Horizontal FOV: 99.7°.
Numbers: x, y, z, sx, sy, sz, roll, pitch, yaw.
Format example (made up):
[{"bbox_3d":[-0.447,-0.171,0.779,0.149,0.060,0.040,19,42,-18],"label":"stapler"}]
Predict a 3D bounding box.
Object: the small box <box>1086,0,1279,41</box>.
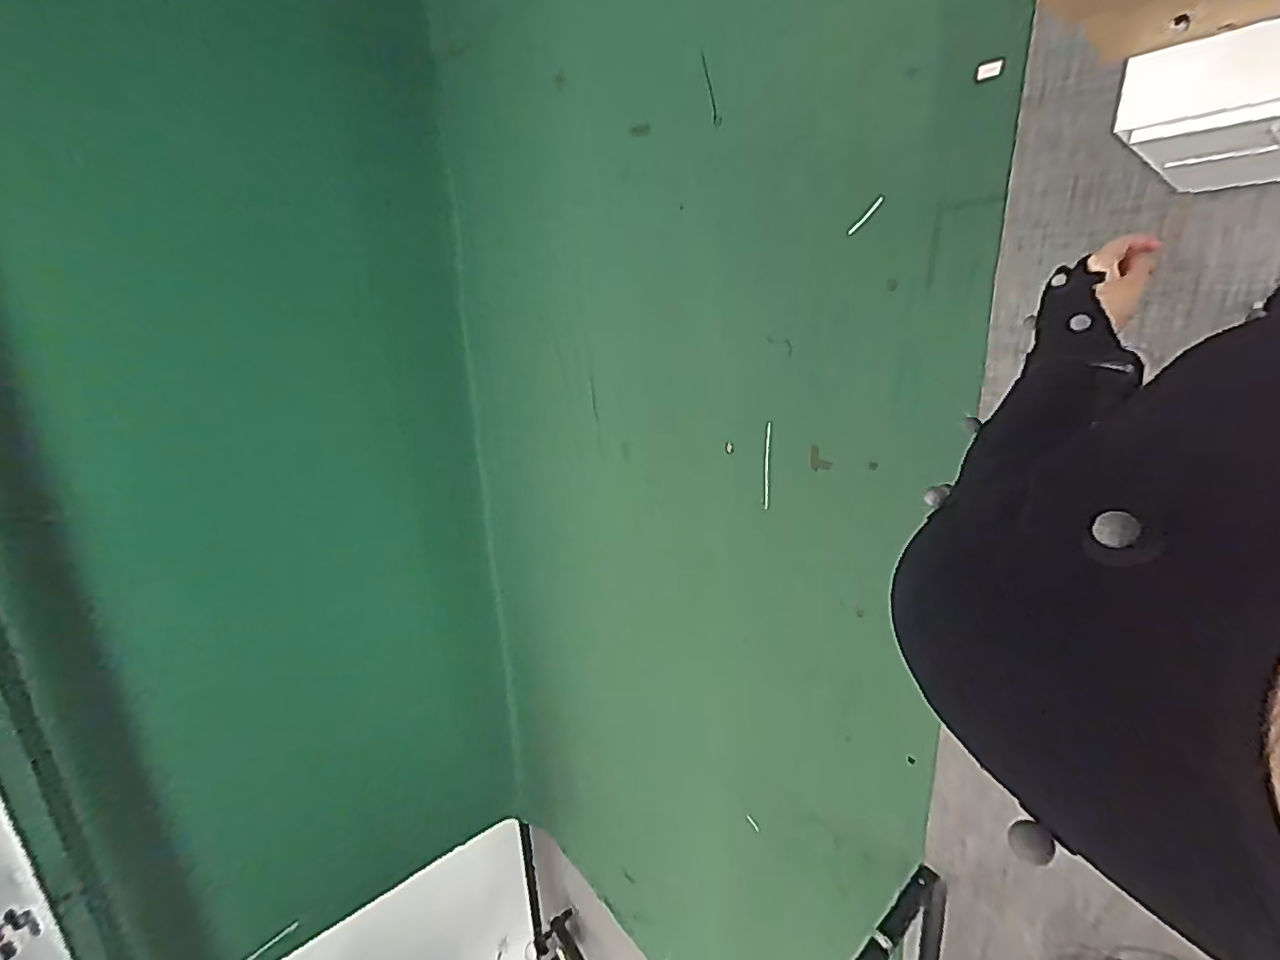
[{"bbox_3d":[0.558,-0.564,0.520,0.168,0.176,0.179,17,115,45],"label":"small box"}]
